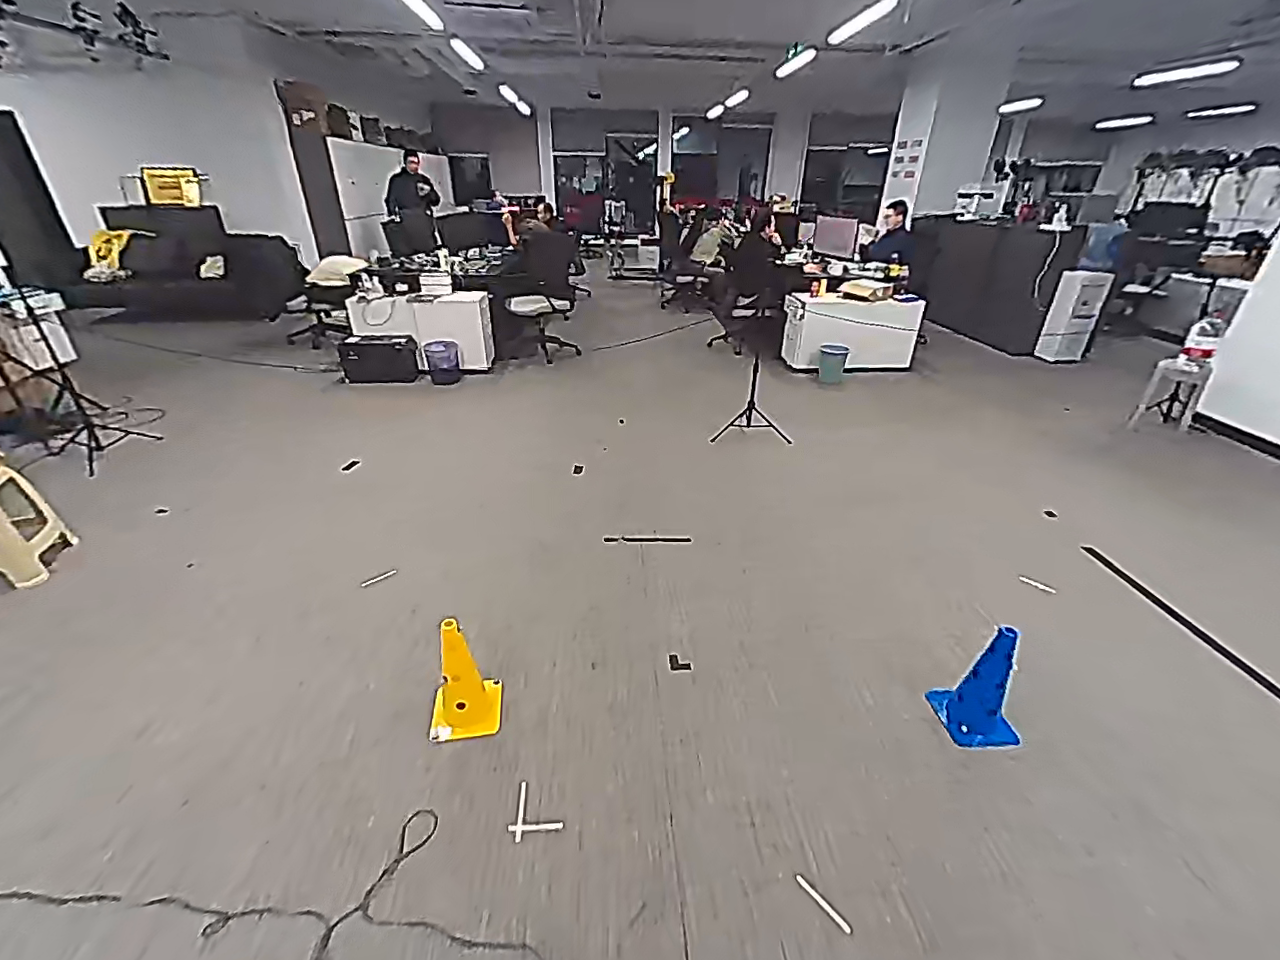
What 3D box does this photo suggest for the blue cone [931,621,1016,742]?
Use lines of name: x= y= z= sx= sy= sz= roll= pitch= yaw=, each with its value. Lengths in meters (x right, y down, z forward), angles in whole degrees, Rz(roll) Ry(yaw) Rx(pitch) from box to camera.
blue cone: x=1.018 y=0.571 z=1.572 sx=0.193 sy=0.380 sz=0.192 roll=0 pitch=28 yaw=-2
